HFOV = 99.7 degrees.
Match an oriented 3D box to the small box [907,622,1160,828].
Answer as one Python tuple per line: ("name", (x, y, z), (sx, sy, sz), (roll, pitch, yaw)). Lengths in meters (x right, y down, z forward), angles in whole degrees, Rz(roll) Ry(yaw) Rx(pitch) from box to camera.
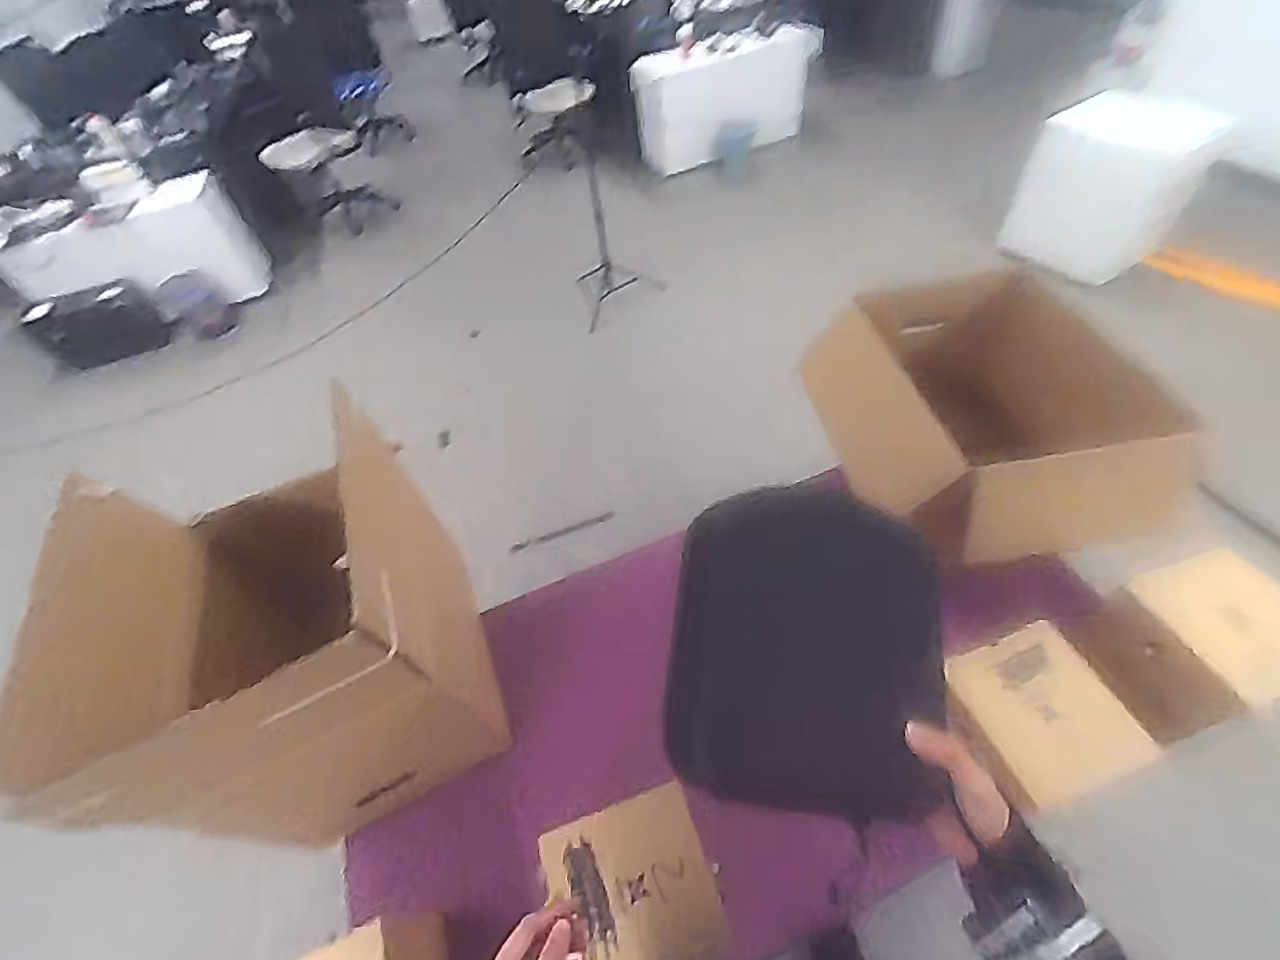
("small box", (0.485, 0.320, 0.705), (0.168, 0.176, 0.179), (-19, 51, -7))

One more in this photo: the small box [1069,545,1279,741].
("small box", (0.751, 0.224, 0.738), (0.168, 0.176, 0.179), (-19, 50, -6))

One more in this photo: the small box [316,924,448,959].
("small box", (-0.316, 0.625, 0.586), (0.179, 0.176, 0.168), (-23, 51, -12))
